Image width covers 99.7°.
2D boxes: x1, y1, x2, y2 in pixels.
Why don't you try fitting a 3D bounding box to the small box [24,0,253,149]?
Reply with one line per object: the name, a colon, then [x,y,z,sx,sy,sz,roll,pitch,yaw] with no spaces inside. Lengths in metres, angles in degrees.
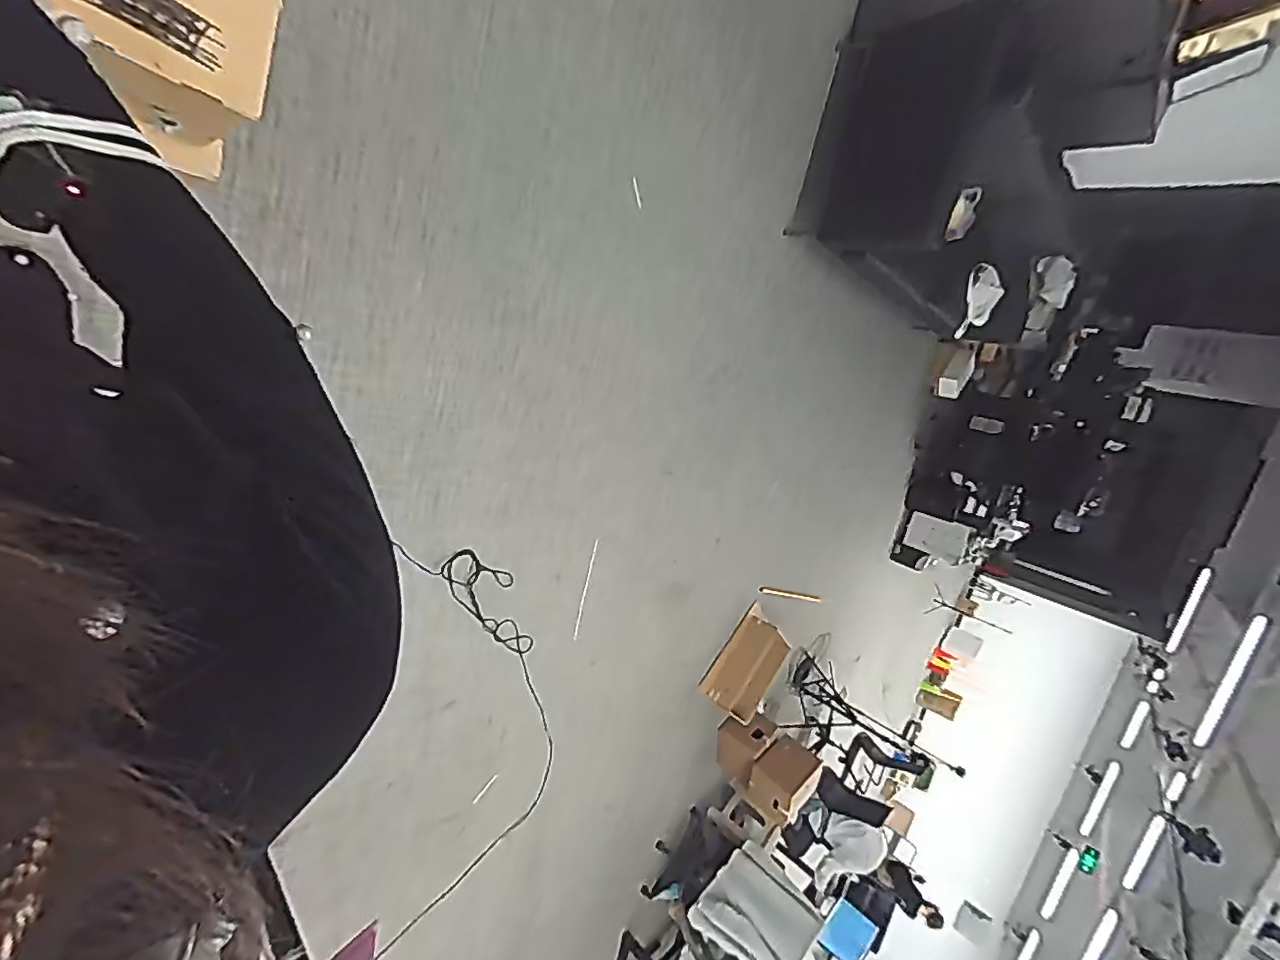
small box: [-0.578,-0.516,0.628,0.168,0.176,0.179,7,102,-48]
